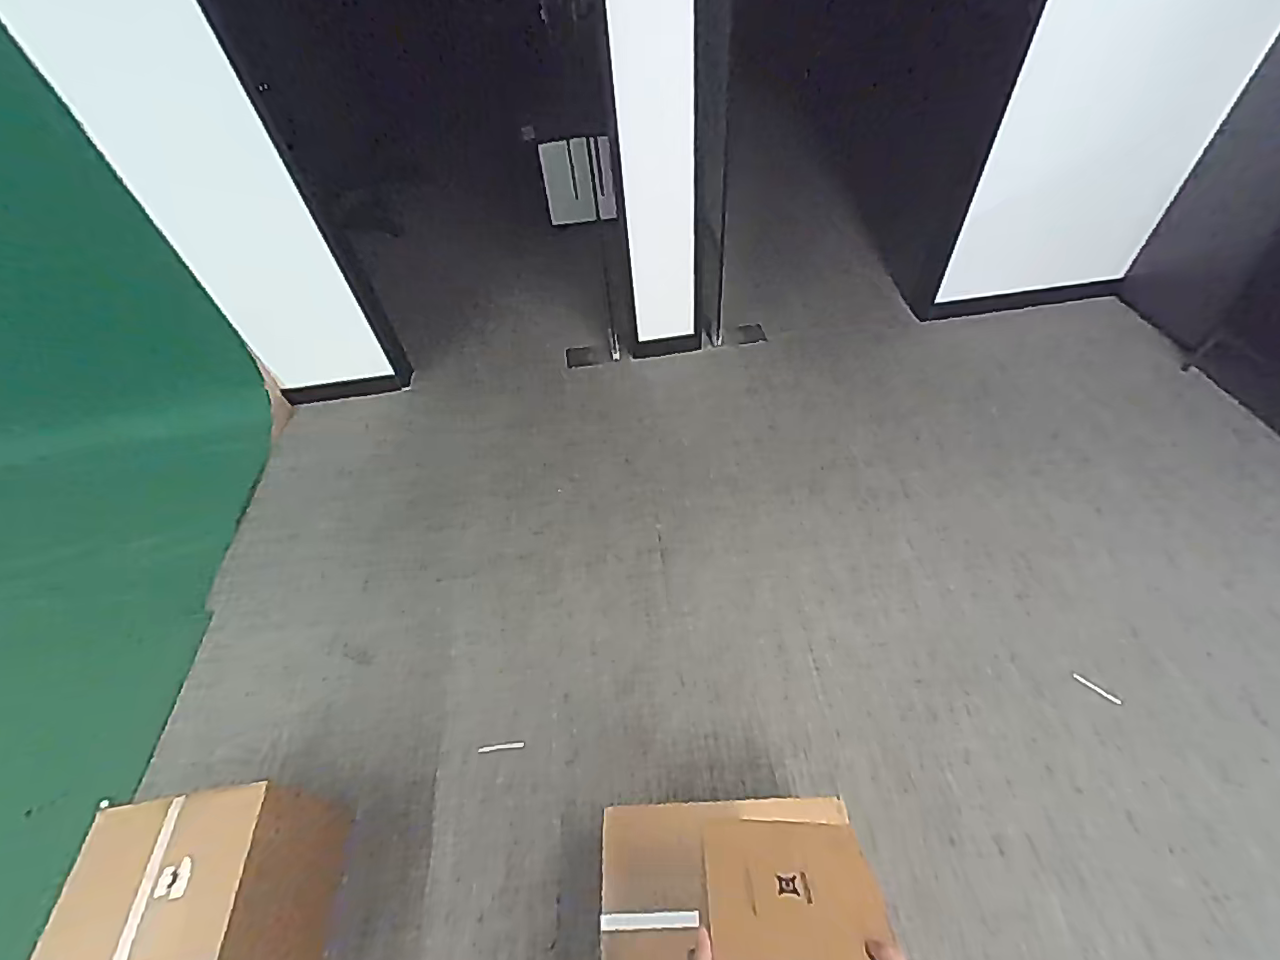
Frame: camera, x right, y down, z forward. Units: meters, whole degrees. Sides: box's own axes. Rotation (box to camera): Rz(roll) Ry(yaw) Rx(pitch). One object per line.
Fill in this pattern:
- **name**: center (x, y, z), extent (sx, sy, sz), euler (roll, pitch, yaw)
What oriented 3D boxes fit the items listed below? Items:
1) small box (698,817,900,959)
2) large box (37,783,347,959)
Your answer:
- **small box**: center (0.154, 0.499, 0.574), extent (0.179, 0.176, 0.168), euler (1, 11, 4)
- **large box**: center (-0.796, 0.831, 0.980), extent (0.320, 0.320, 0.408), euler (-9, 48, -1)
